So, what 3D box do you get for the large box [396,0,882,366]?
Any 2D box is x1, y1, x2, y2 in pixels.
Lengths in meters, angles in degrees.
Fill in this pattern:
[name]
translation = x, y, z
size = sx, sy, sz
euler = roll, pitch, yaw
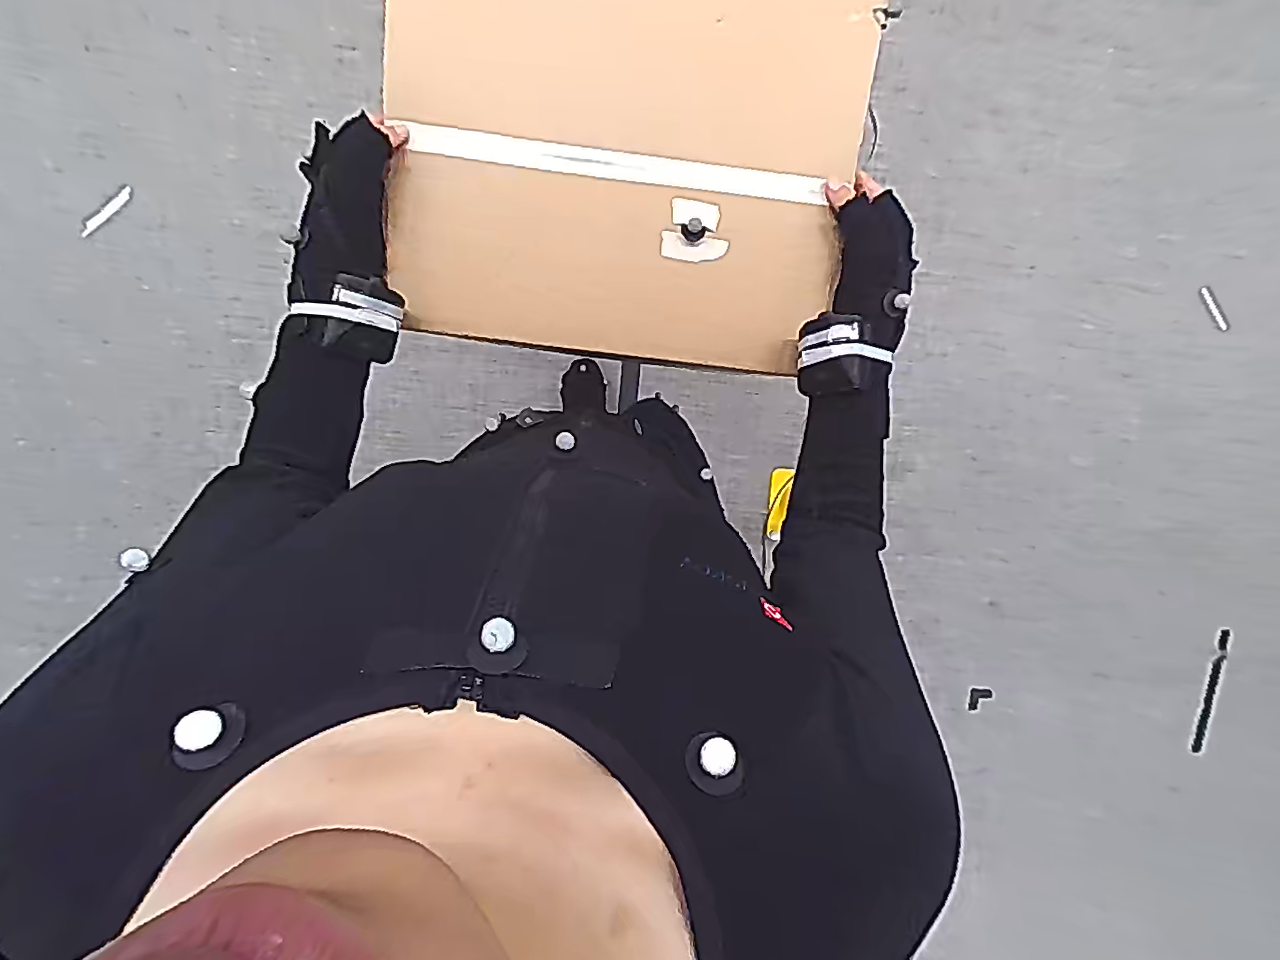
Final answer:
[large box]
translation = -0.016, -0.308, 0.615
size = 0.408, 0.320, 0.320
euler = 6, 102, -4
